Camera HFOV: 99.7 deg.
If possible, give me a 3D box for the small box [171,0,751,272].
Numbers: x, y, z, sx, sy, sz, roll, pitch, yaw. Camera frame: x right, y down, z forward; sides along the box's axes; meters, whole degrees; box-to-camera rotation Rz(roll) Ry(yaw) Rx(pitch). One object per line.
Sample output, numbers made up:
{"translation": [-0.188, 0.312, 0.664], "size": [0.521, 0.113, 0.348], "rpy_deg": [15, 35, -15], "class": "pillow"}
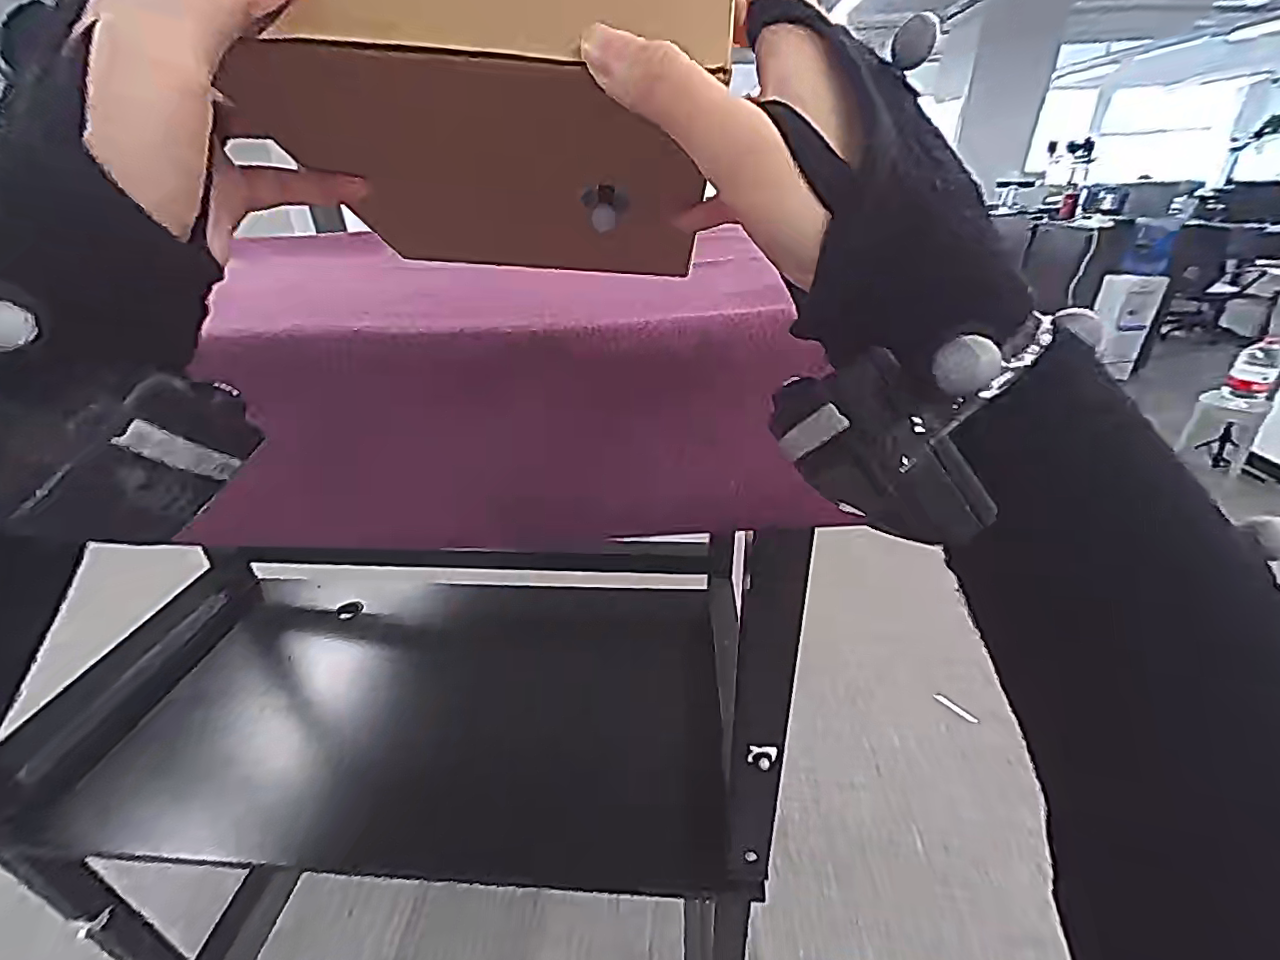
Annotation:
{"translation": [-0.048, -0.209, 0.244], "size": [0.179, 0.168, 0.176], "rpy_deg": [5, -2, 1], "class": "small box"}
